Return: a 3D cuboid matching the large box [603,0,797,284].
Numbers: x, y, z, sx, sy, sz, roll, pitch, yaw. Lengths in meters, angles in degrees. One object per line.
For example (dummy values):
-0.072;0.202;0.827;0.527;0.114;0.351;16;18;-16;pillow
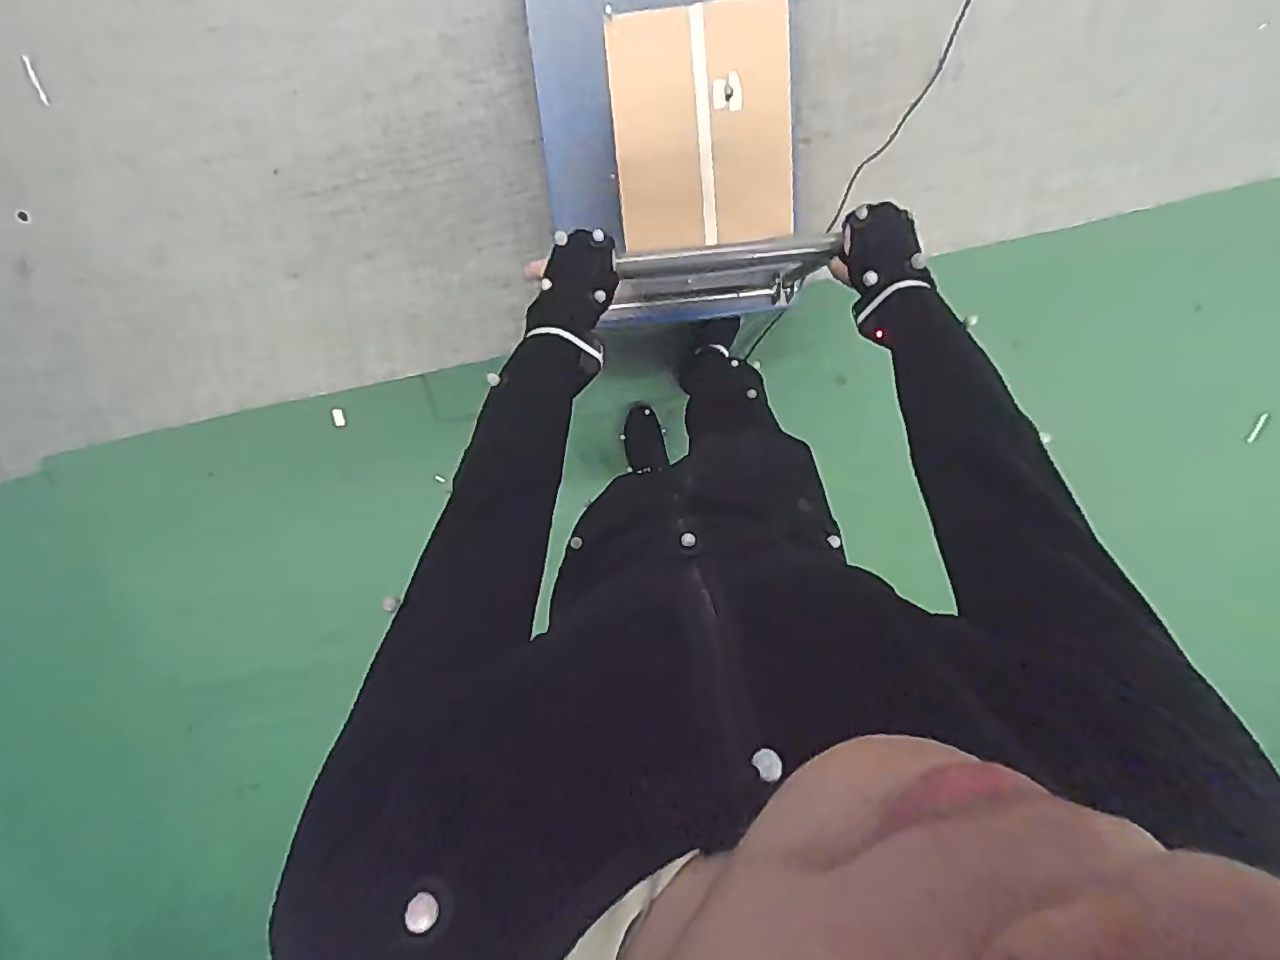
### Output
0.113;-0.635;1.088;0.320;0.320;0.408;-6;104;1;large box
